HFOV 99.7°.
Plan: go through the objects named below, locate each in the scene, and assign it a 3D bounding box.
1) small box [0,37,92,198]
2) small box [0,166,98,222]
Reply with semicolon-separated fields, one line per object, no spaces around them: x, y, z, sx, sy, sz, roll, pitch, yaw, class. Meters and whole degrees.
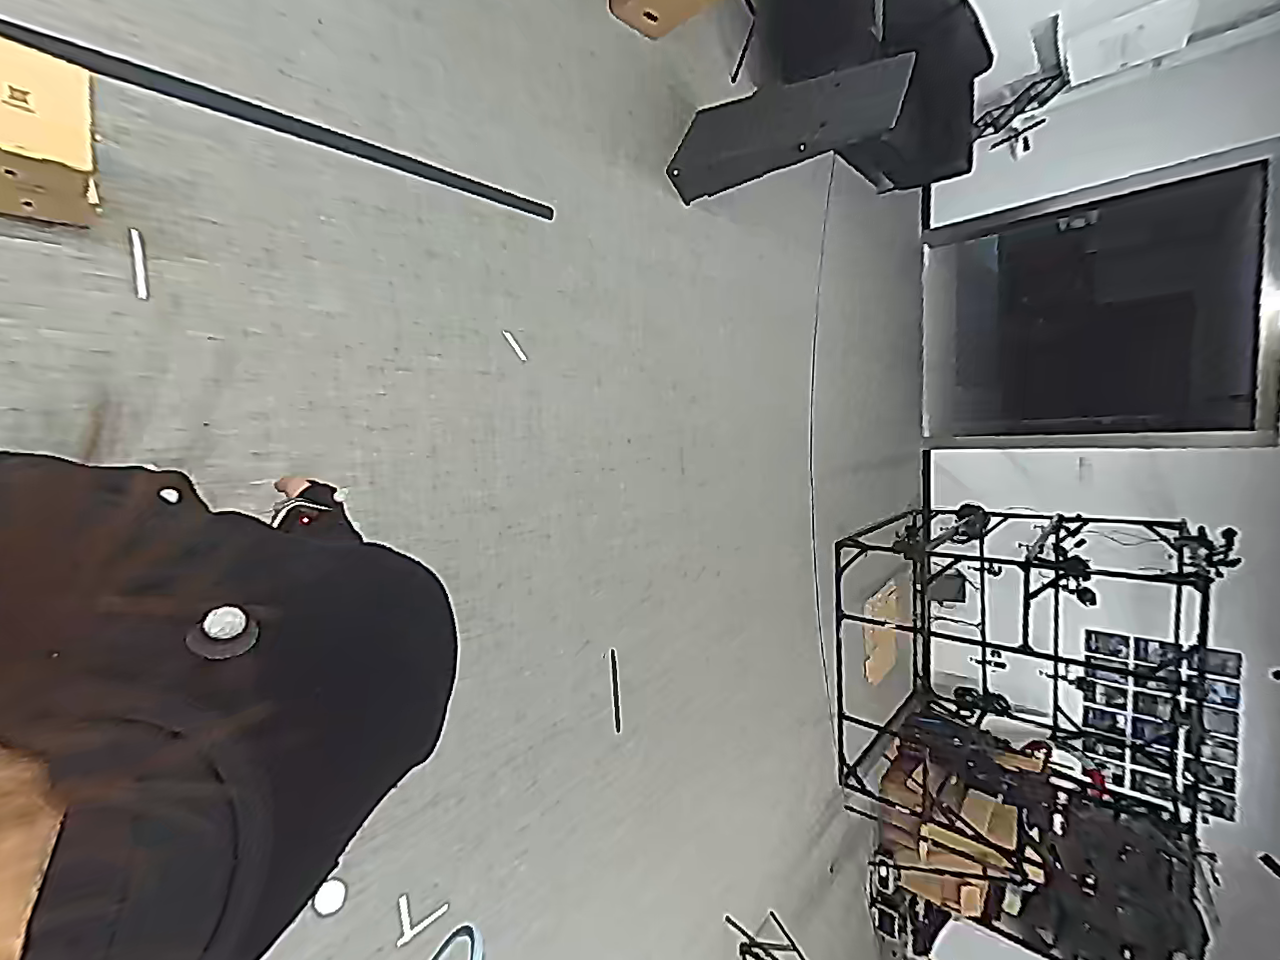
-1.066;-0.621;0.927;0.168;0.176;0.179;-2;94;-48;small box
-1.184;-0.615;1.040;0.179;0.176;0.168;-9;99;-47;small box
